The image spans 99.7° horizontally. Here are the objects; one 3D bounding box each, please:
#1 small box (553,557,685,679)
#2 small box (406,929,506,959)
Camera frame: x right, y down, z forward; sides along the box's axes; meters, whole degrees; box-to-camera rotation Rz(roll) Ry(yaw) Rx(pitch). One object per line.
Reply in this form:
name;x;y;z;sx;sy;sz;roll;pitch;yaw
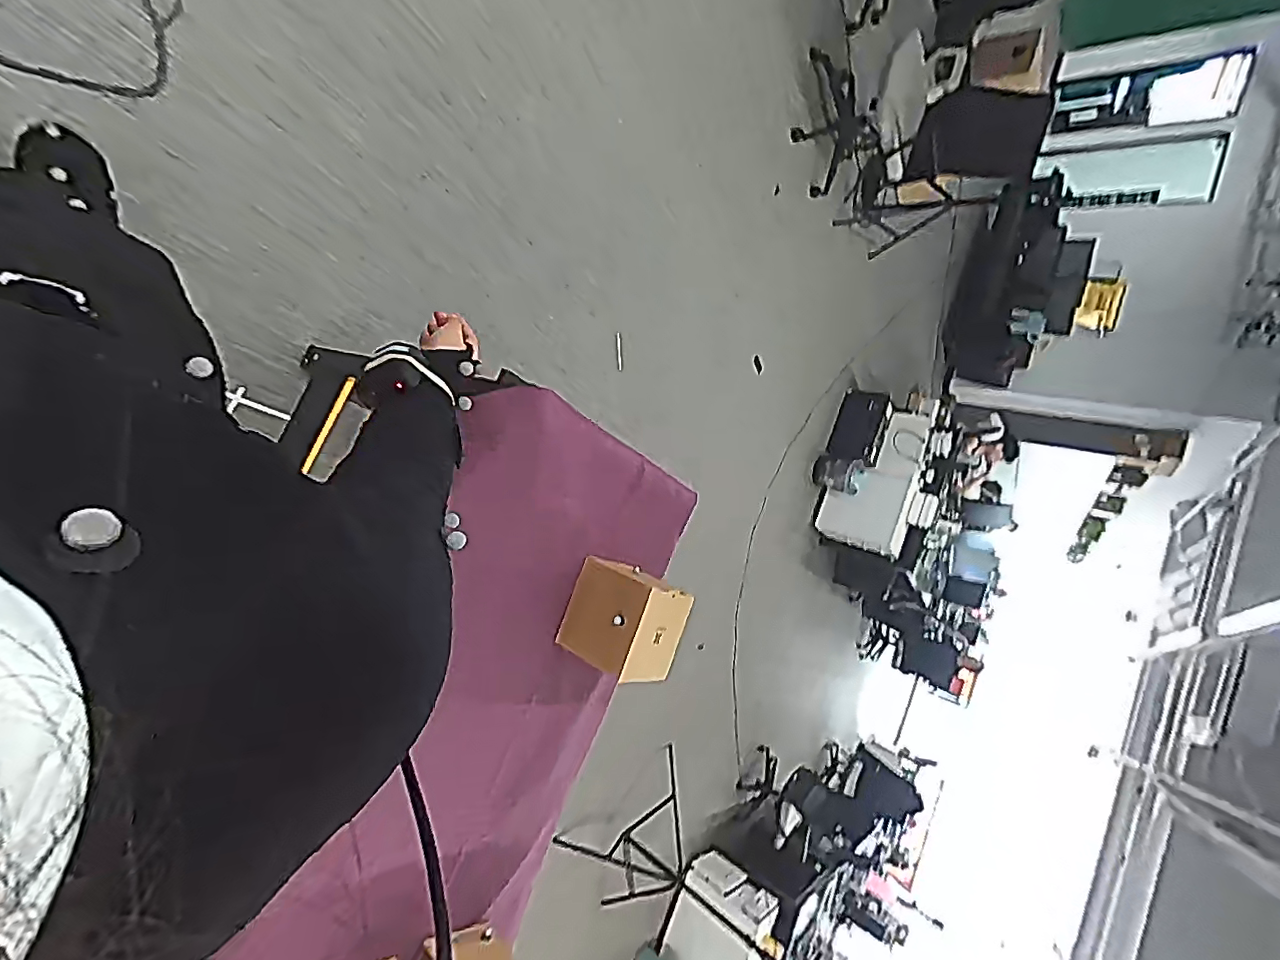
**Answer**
small box;-0.044;0.269;1.056;0.168;0.176;0.179;28;81;-54
small box;-0.332;0.928;0.936;0.168;0.176;0.179;42;71;-50
